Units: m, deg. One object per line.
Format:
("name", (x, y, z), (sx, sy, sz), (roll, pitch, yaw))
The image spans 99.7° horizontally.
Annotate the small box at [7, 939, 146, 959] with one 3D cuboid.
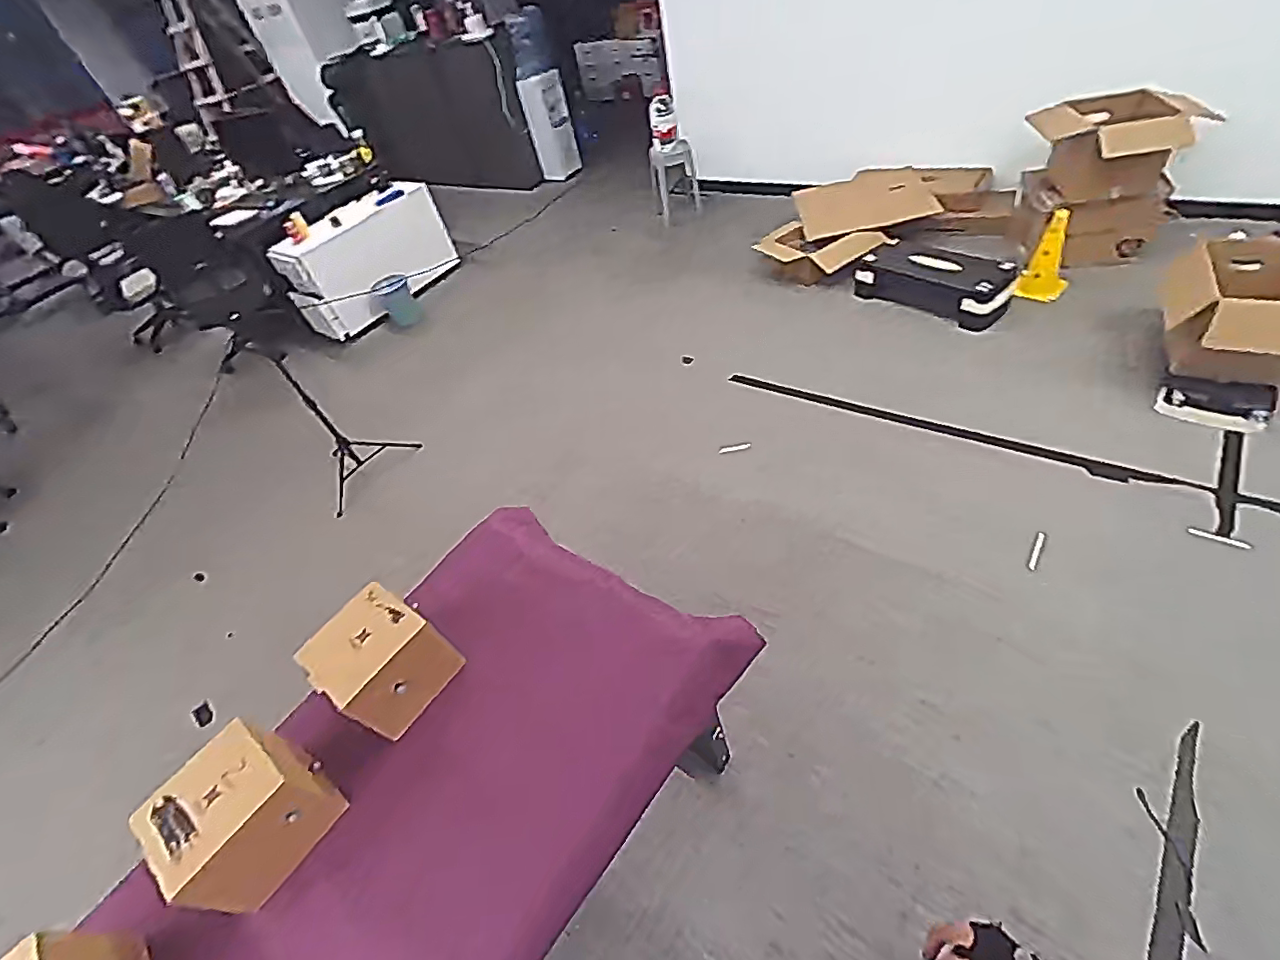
("small box", (-0.758, 0.729, 0.680), (0.179, 0.176, 0.168), (28, 60, 34))
